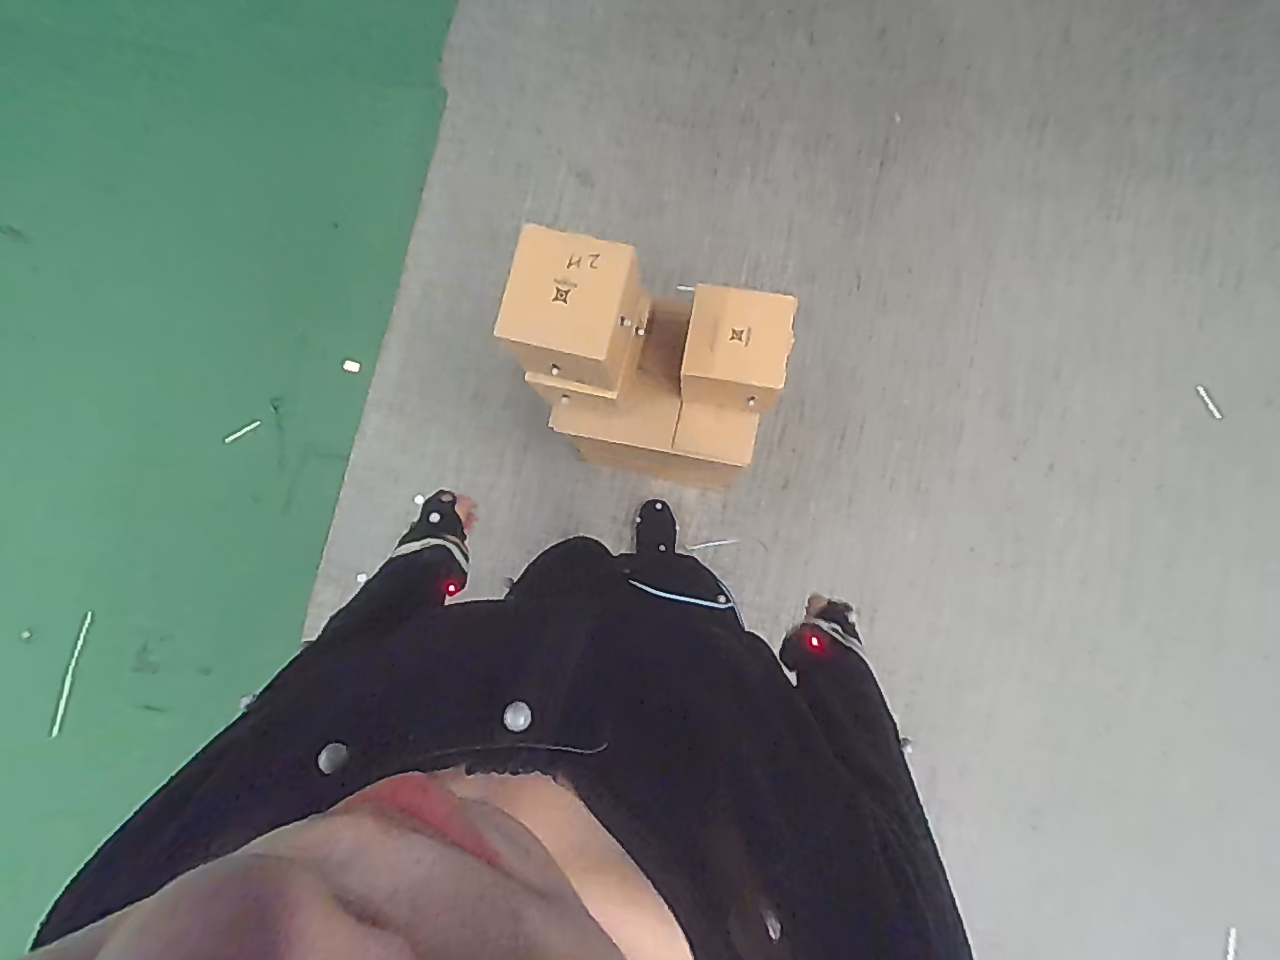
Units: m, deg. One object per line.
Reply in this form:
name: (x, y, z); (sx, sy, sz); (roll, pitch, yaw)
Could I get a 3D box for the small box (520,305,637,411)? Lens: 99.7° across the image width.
small box: (-0.104, -0.238, 1.005); (0.168, 0.176, 0.179); (14, 86, 3)

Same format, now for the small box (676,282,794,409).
small box: (0.166, -0.236, 0.992); (0.179, 0.176, 0.168); (11, 84, 5)

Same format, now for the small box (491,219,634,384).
small box: (-0.108, -0.264, 0.842); (0.168, 0.176, 0.179); (15, 86, 3)
